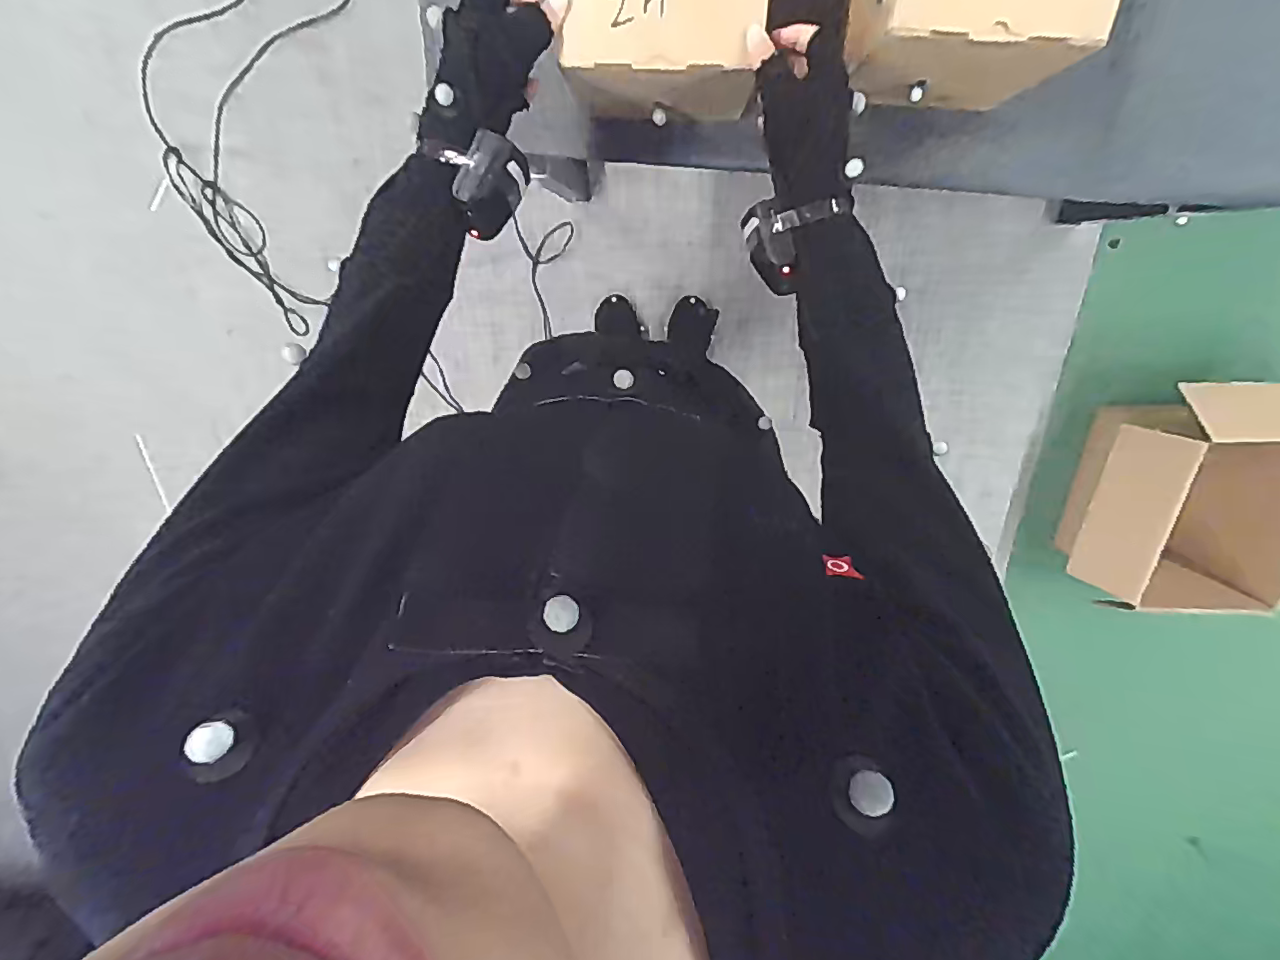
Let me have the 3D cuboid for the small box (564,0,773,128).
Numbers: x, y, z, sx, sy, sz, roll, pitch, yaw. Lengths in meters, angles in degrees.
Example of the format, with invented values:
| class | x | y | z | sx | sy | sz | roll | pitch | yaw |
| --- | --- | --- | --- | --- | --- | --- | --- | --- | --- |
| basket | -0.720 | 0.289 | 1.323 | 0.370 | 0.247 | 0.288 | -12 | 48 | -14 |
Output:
| class | x | y | z | sx | sy | sz | roll | pitch | yaw |
| --- | --- | --- | --- | --- | --- | --- | --- | --- | --- |
| small box | 0.027 | -0.437 | 0.481 | 0.168 | 0.176 | 0.179 | 2 | 112 | 3 |
